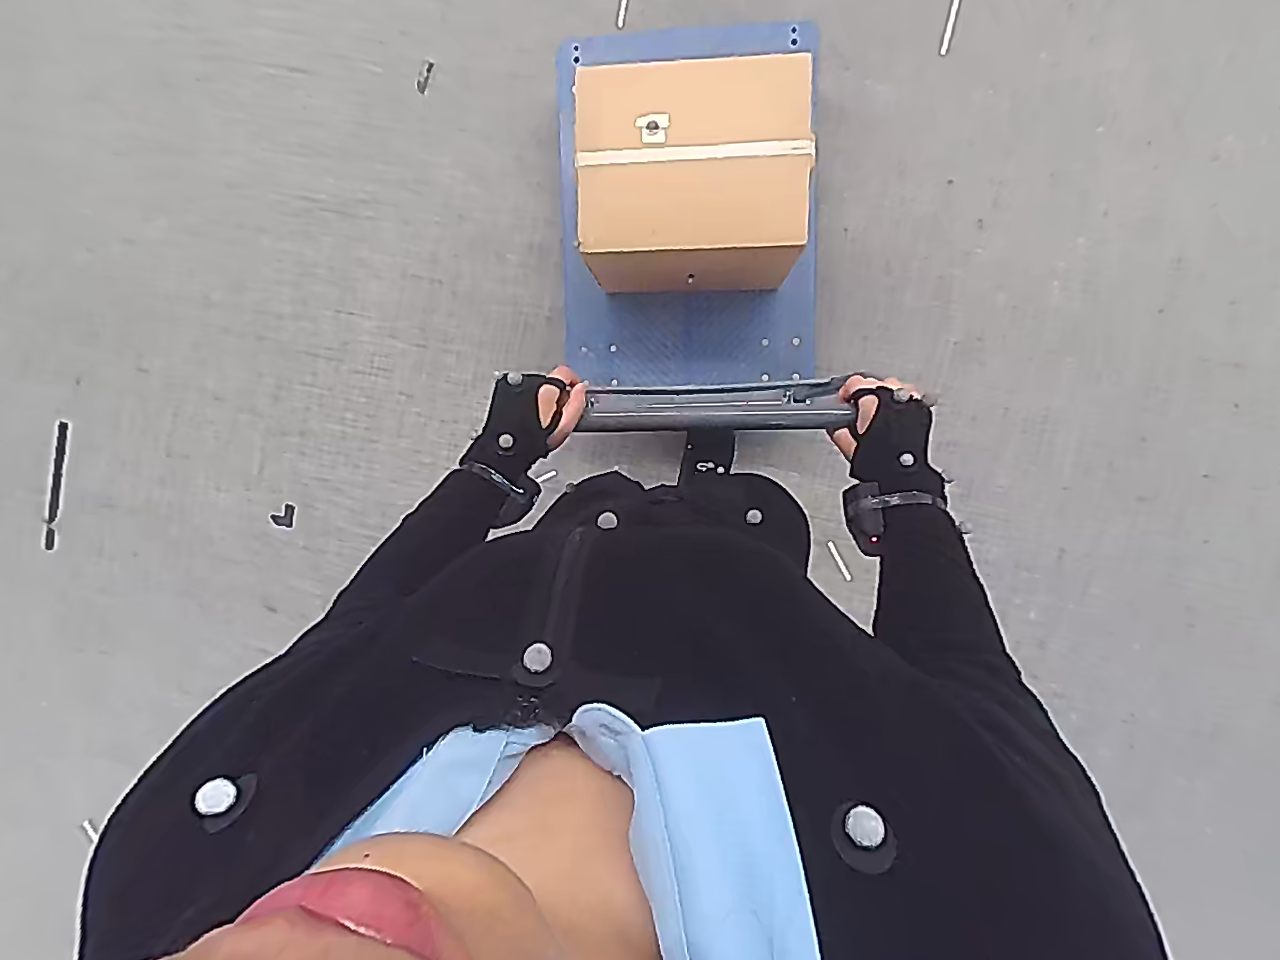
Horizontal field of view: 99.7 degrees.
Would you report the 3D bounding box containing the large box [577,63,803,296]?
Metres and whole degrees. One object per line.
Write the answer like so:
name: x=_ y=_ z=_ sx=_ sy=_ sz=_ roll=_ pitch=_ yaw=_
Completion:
large box: x=0.103 y=-0.575 z=1.107 sx=0.408 sy=0.320 sz=0.320 roll=0 pitch=95 yaw=6
